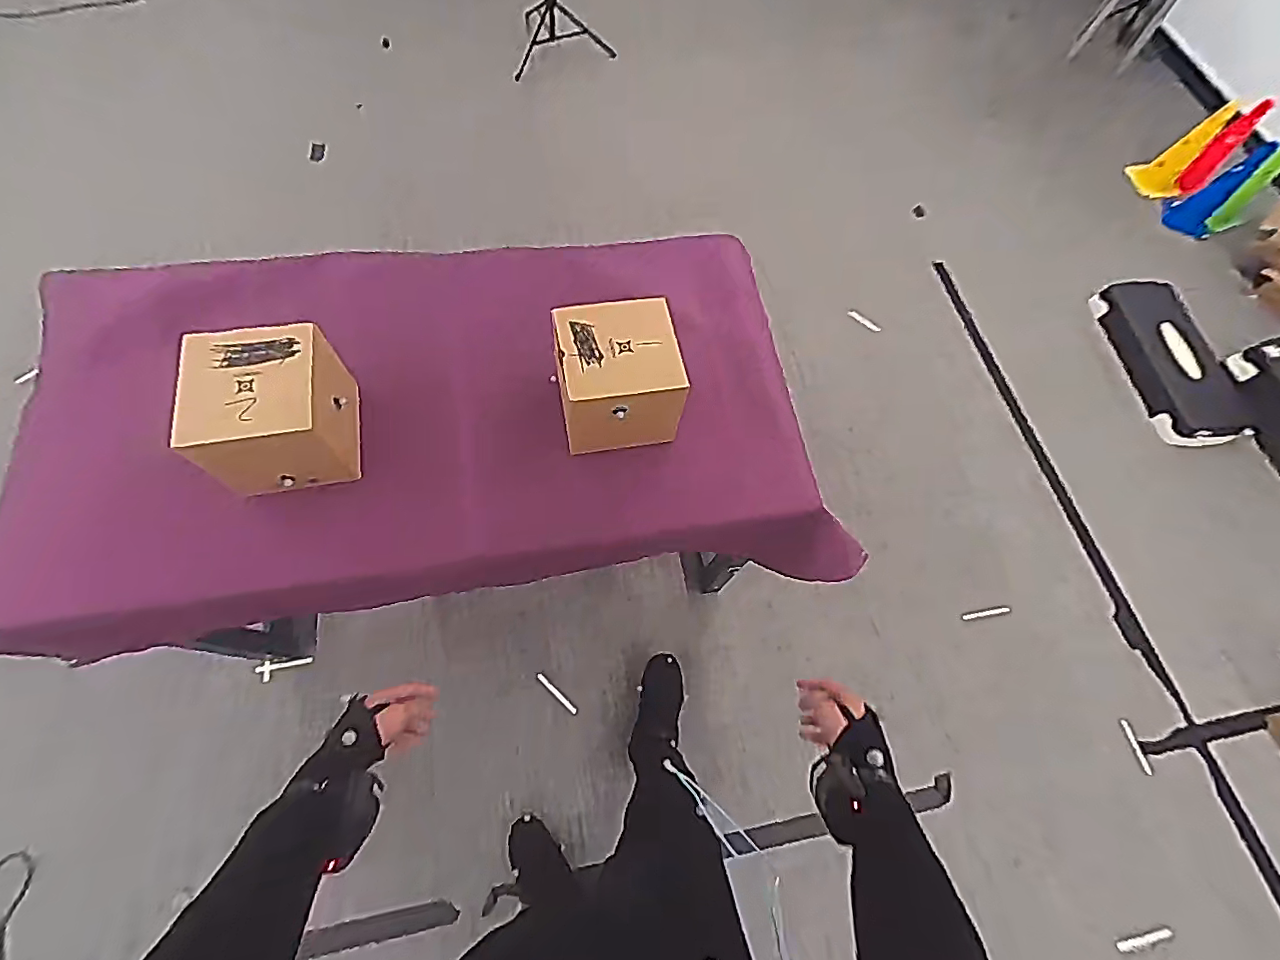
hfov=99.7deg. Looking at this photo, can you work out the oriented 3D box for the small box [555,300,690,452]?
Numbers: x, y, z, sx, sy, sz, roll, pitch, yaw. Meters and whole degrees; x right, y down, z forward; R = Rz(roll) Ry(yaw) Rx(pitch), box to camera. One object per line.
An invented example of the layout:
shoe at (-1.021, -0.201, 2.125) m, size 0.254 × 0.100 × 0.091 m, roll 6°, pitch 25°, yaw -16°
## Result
small box at (-0.032, -0.157, 0.853) m, size 0.179 × 0.176 × 0.168 m, roll -8°, pitch 68°, yaw -9°
